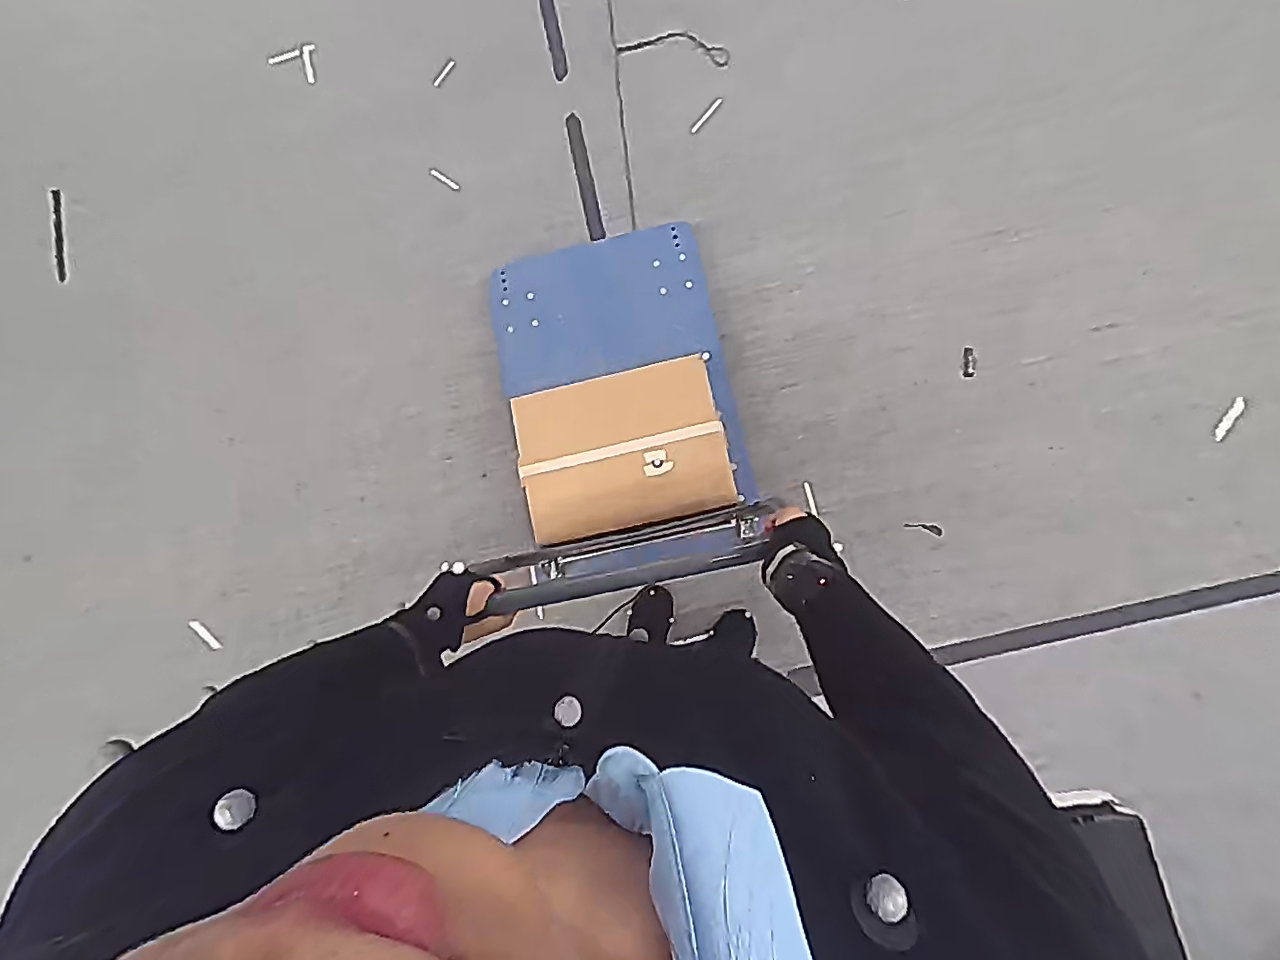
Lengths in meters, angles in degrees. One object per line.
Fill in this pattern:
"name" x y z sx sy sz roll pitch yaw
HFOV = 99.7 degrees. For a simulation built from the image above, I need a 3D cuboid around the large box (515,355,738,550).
"large box" -0.021 -0.039 1.225 0.408 0.320 0.320 -13 81 3
